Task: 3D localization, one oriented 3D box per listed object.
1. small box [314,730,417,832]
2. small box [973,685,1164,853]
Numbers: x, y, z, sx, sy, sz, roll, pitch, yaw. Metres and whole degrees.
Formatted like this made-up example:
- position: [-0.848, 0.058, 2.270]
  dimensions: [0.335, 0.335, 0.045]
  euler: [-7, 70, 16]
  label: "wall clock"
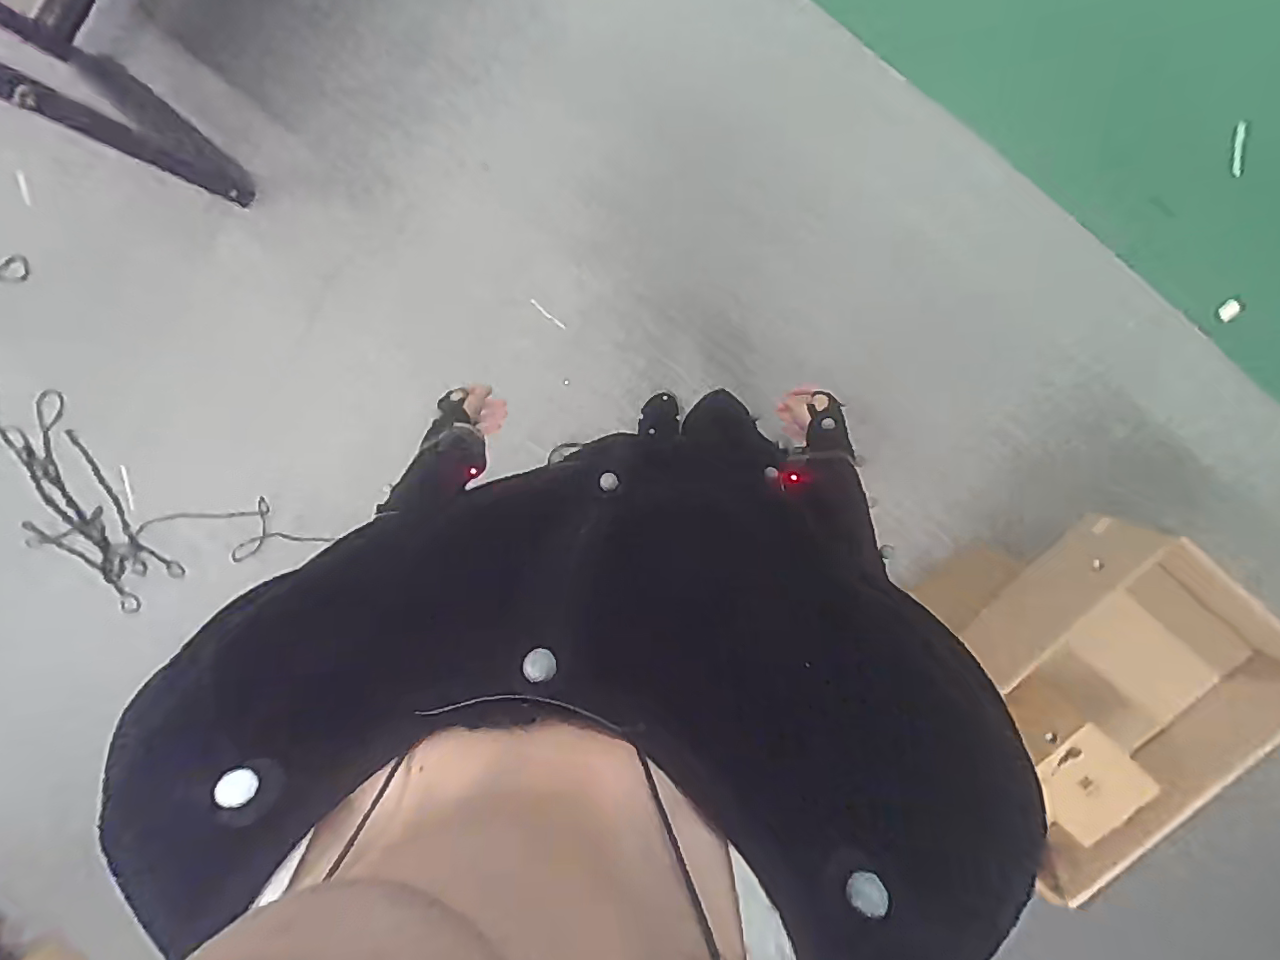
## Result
- position: [-0.804, 0.877, 1.600]
  dimensions: [0.179, 0.176, 0.168]
  euler: [39, 99, -2]
  label: "small box"
- position: [0.771, 0.518, 0.993]
  dimensions: [0.179, 0.176, 0.168]
  euler: [43, 97, -2]
  label: "small box"
